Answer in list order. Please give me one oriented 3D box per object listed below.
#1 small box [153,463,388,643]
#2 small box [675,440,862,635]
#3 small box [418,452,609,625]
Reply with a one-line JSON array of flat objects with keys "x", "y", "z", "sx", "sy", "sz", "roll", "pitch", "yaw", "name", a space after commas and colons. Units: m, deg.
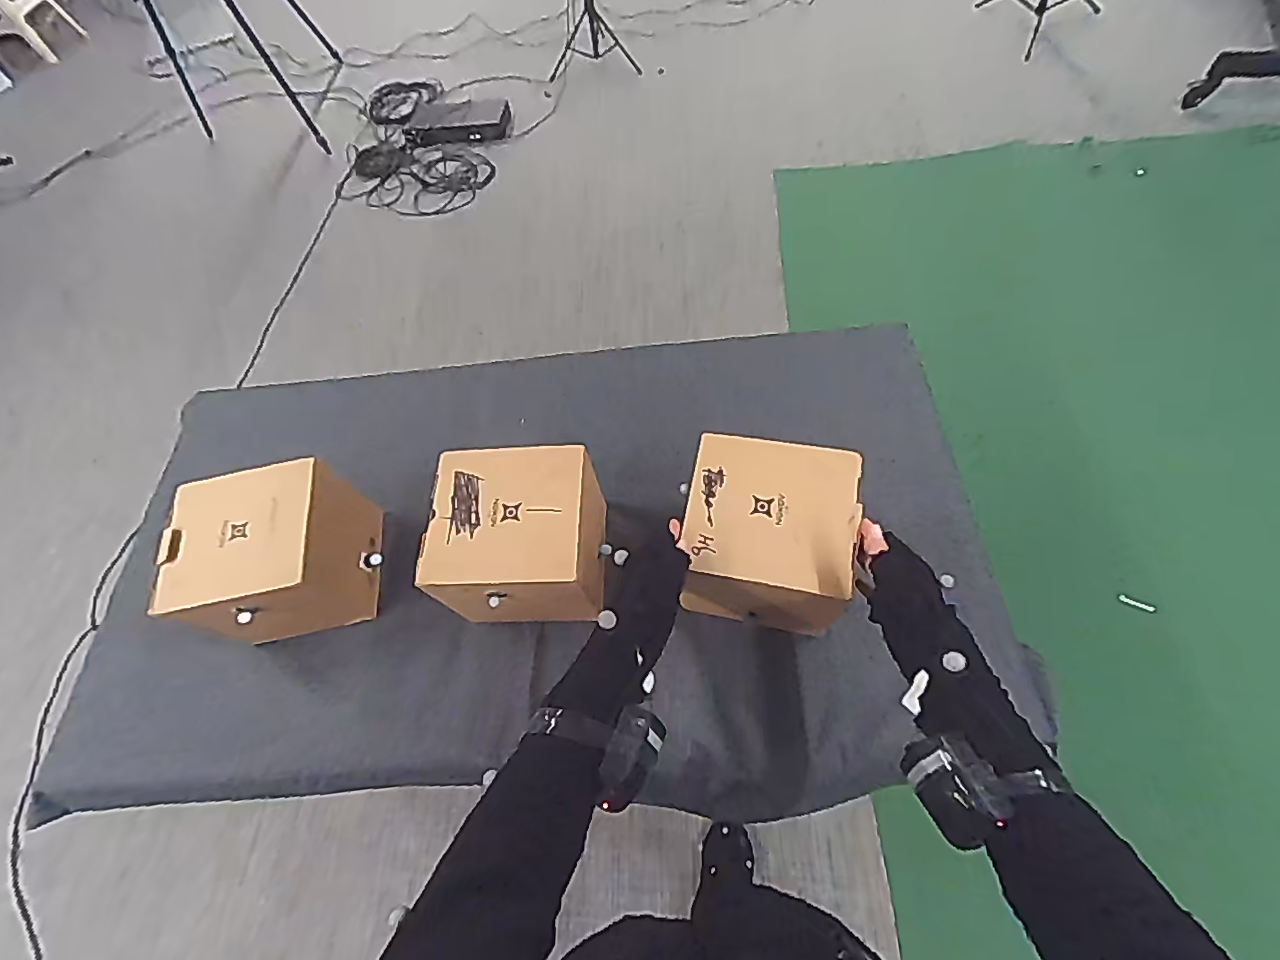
[{"x": -0.455, "y": 0.102, "z": 0.698, "sx": 0.179, "sy": 0.176, "sz": 0.168, "roll": -12, "pitch": 63, "yaw": -1, "name": "small box"}, {"x": 0.145, "y": 0.075, "z": 0.637, "sx": 0.179, "sy": 0.176, "sz": 0.168, "roll": 9, "pitch": 64, "yaw": 11, "name": "small box"}, {"x": -0.141, "y": 0.080, "z": 0.669, "sx": 0.179, "sy": 0.176, "sz": 0.168, "roll": -2, "pitch": 62, "yaw": 5, "name": "small box"}]
